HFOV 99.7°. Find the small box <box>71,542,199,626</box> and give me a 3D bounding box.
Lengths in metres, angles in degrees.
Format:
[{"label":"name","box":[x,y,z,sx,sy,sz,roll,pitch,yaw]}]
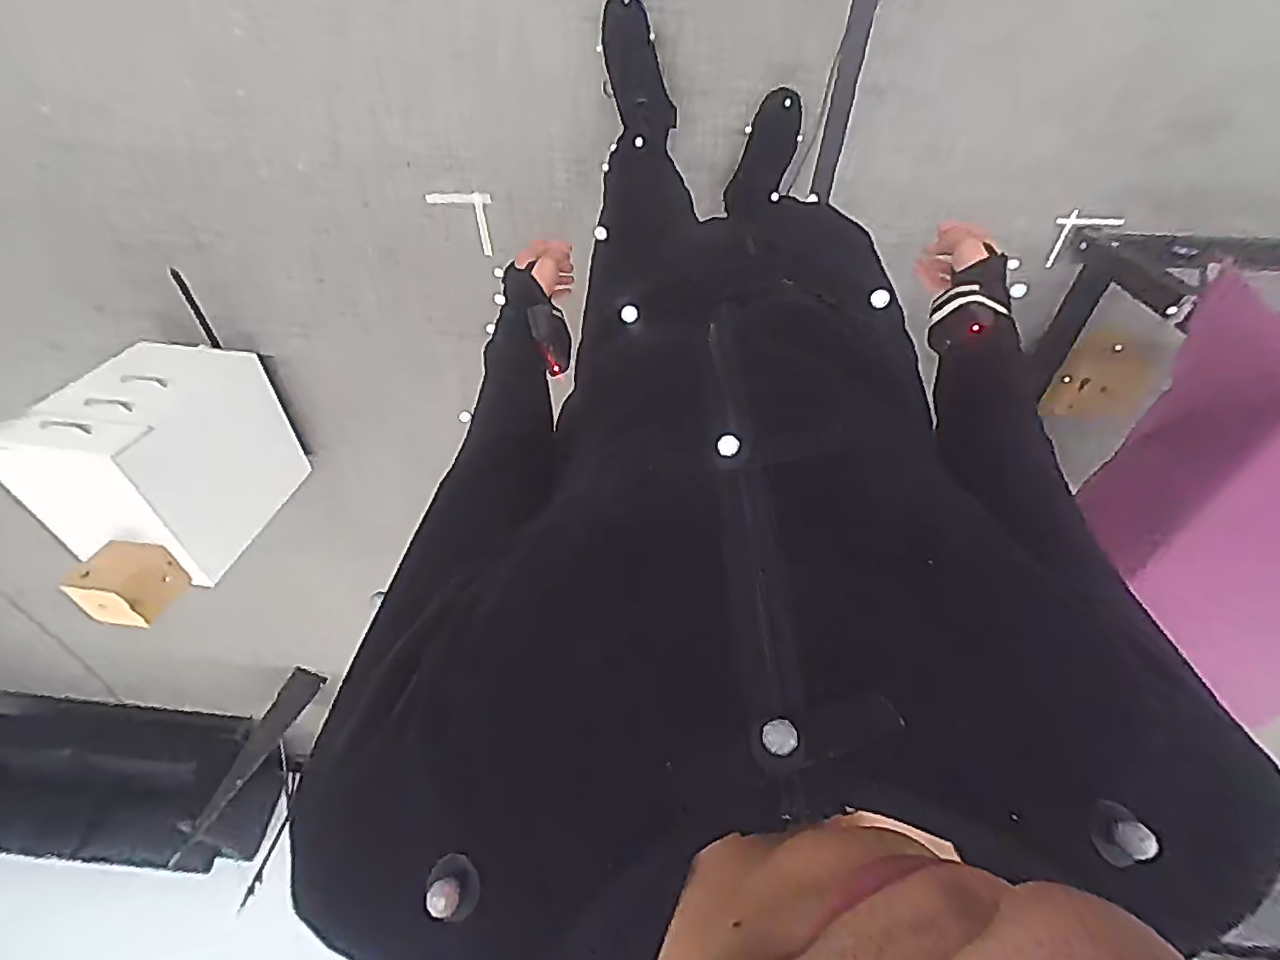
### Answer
[{"label":"small box","box":[-1.455,0.298,1.572,0.179,0.176,0.168,5,133,4]}]
